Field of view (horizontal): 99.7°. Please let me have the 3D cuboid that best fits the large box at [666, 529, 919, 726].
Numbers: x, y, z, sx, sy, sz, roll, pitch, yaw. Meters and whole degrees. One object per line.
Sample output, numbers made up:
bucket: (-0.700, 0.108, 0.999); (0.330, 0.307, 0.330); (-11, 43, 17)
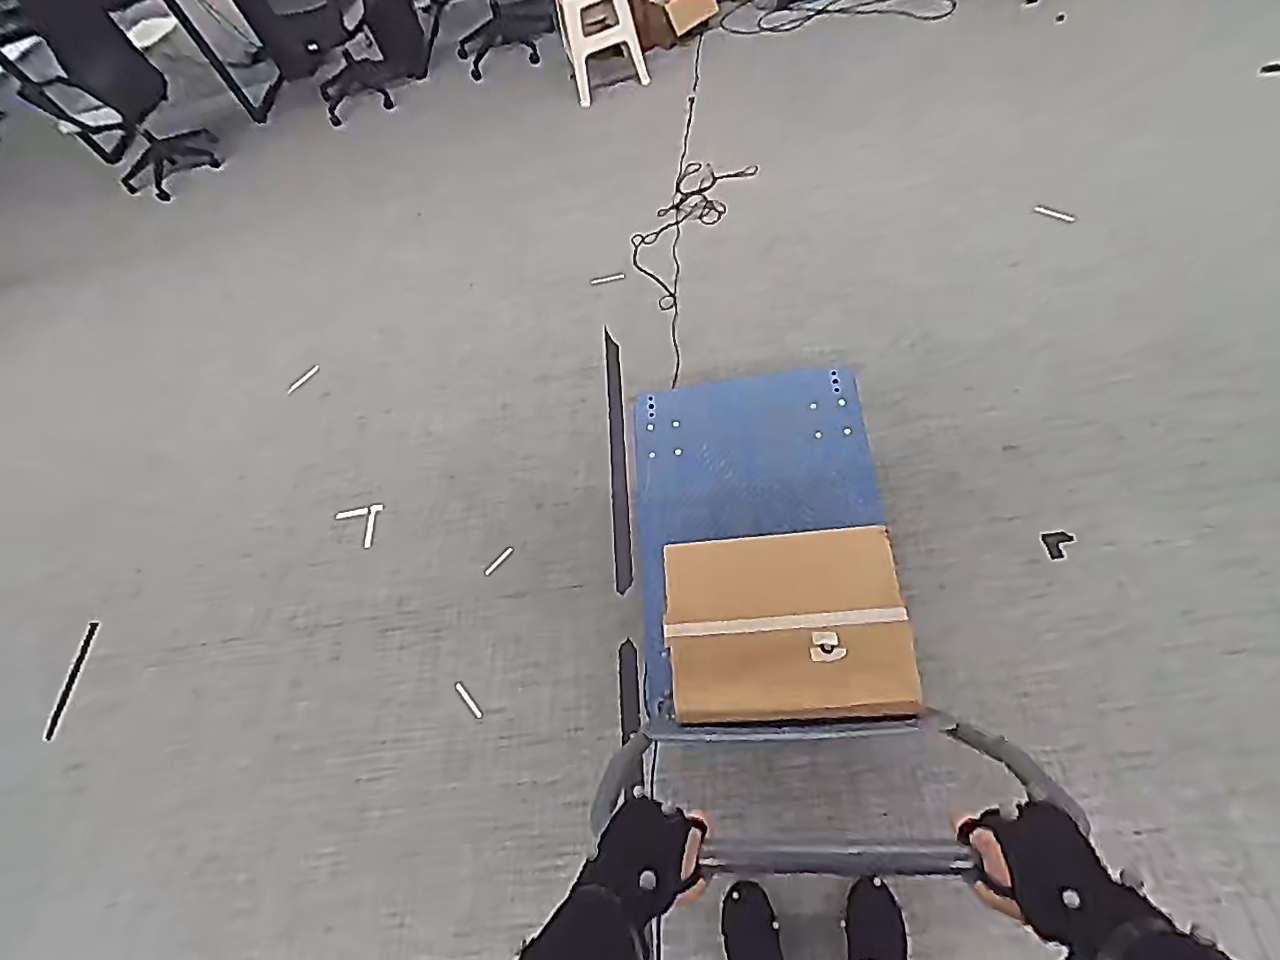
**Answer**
large box: (0.278, 0.304, 1.096); (0.408, 0.320, 0.320); (-7, 71, 9)
